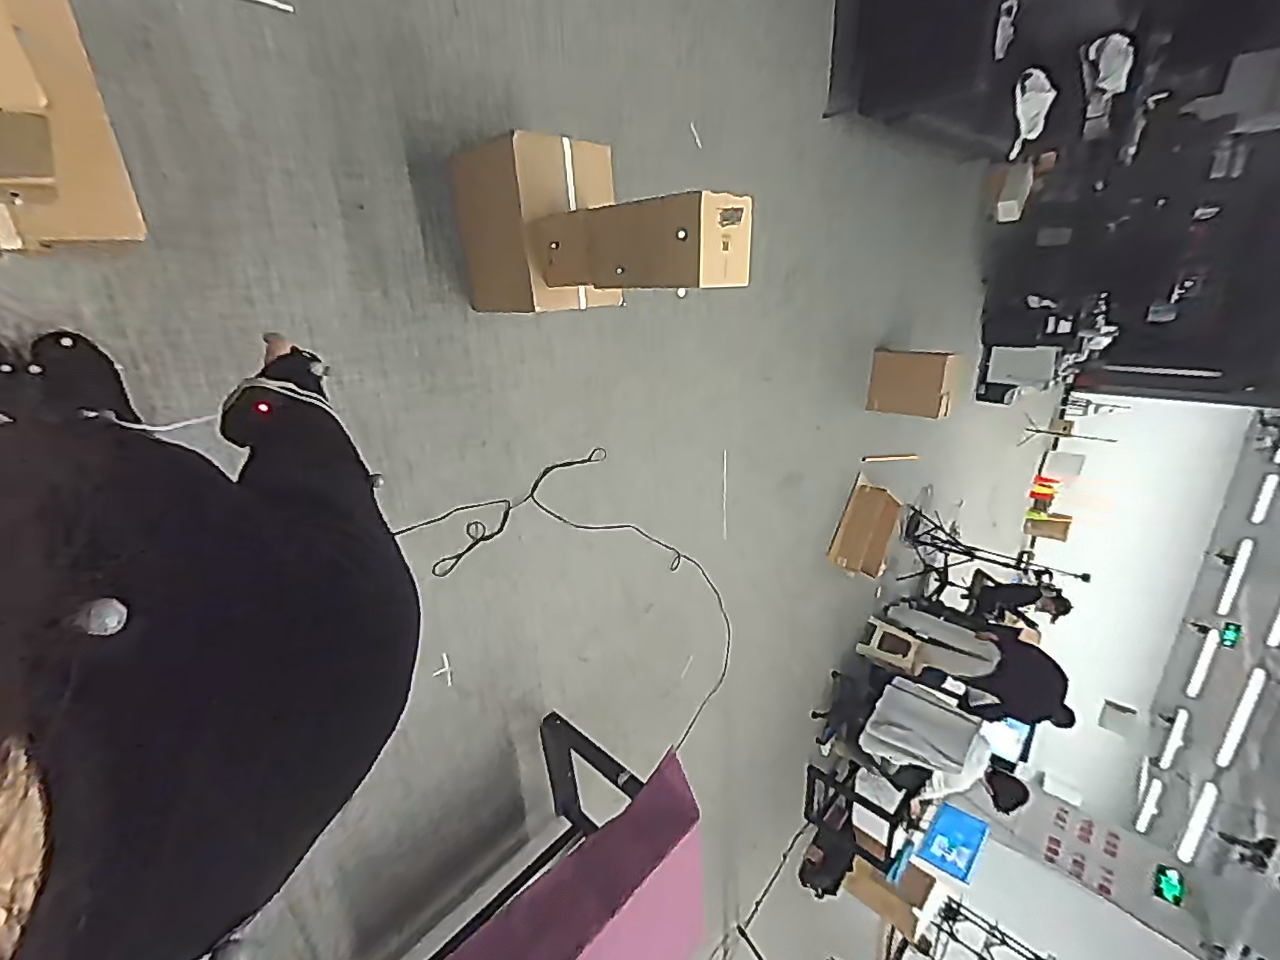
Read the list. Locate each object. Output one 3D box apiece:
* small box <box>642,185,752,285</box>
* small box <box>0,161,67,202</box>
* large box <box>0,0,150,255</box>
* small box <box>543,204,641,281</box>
[{"bbox_3d":[0.118,-0.509,1.144,0.168,0.176,0.179,-20,119,-40],"label":"small box"},{"bbox_3d":[-0.838,-0.436,0.644,0.179,0.176,0.168,-24,118,-39],"label":"small box"},{"bbox_3d":[-1.003,-0.559,0.794,0.320,0.320,0.408,-23,117,-40],"label":"large box"},{"bbox_3d":[-0.119,-0.593,1.357,0.179,0.176,0.168,-24,119,-38],"label":"small box"}]
